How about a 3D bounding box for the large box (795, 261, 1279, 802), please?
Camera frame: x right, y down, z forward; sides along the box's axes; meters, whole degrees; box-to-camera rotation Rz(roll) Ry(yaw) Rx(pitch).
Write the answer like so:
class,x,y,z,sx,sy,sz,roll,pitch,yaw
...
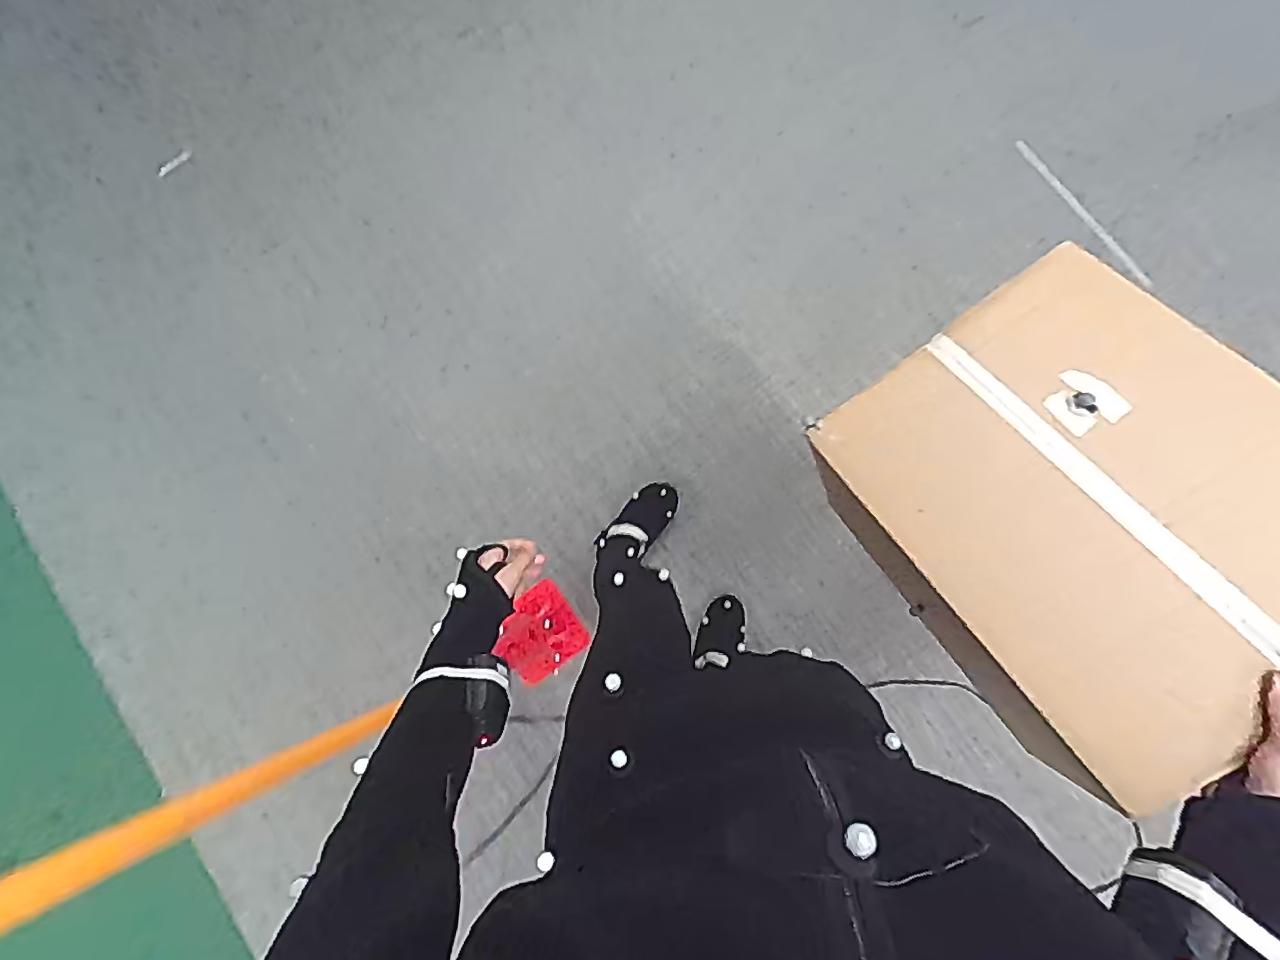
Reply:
class,x,y,z,sx,sy,sz,roll,pitch,yaw
large box,0.442,0.056,0.612,0.320,0.320,0.408,-36,63,9
